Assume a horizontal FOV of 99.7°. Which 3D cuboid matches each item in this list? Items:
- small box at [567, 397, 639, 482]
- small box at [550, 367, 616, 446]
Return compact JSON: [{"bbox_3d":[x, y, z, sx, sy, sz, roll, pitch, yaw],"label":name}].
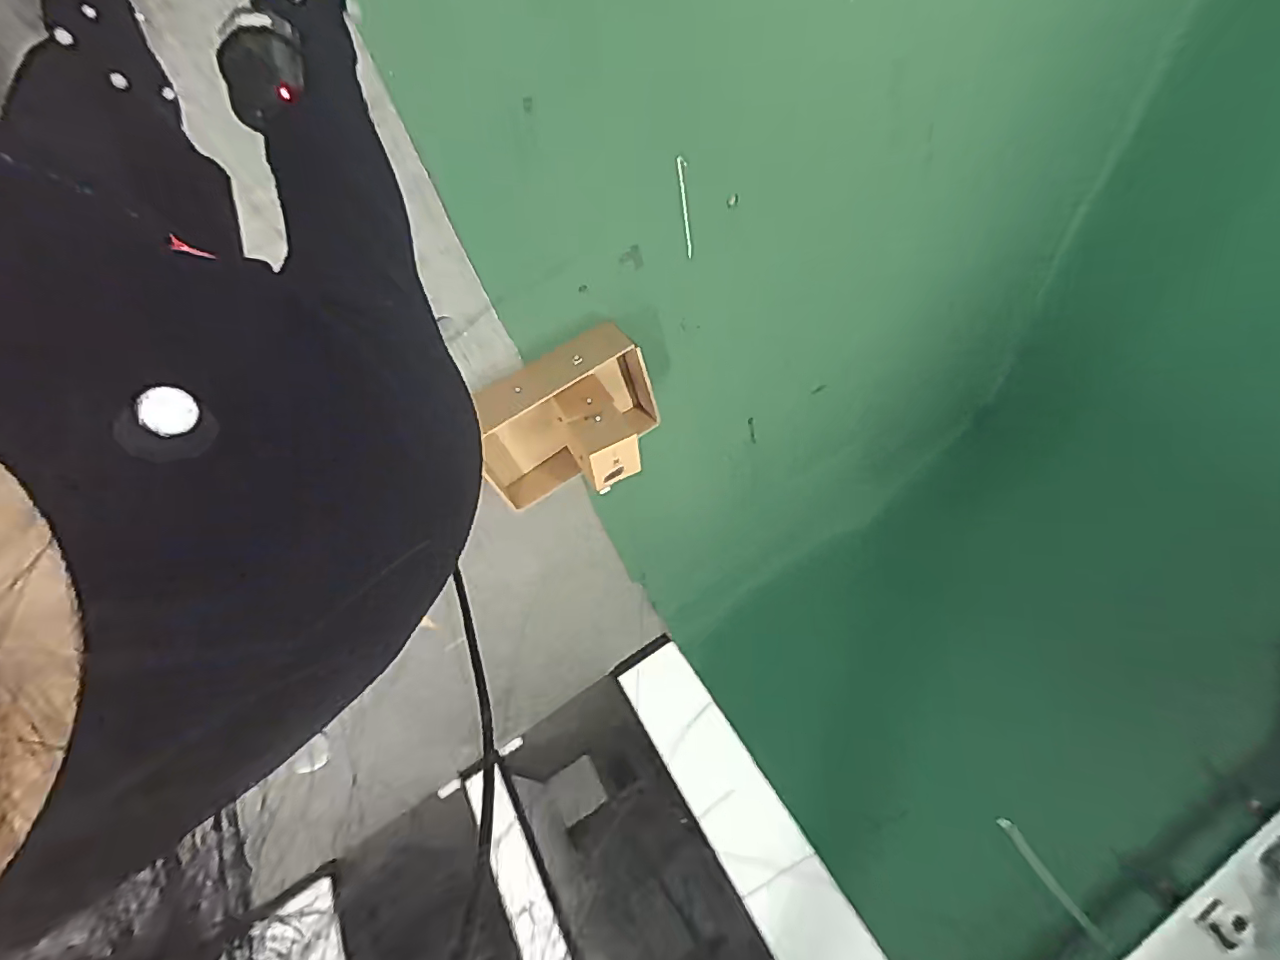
[{"bbox_3d":[-0.118,-0.132,1.730,0.168,0.176,0.179,-26,144,-15],"label":"small box"},{"bbox_3d":[-0.193,-0.250,1.818,0.179,0.176,0.168,-24,145,-17],"label":"small box"}]
